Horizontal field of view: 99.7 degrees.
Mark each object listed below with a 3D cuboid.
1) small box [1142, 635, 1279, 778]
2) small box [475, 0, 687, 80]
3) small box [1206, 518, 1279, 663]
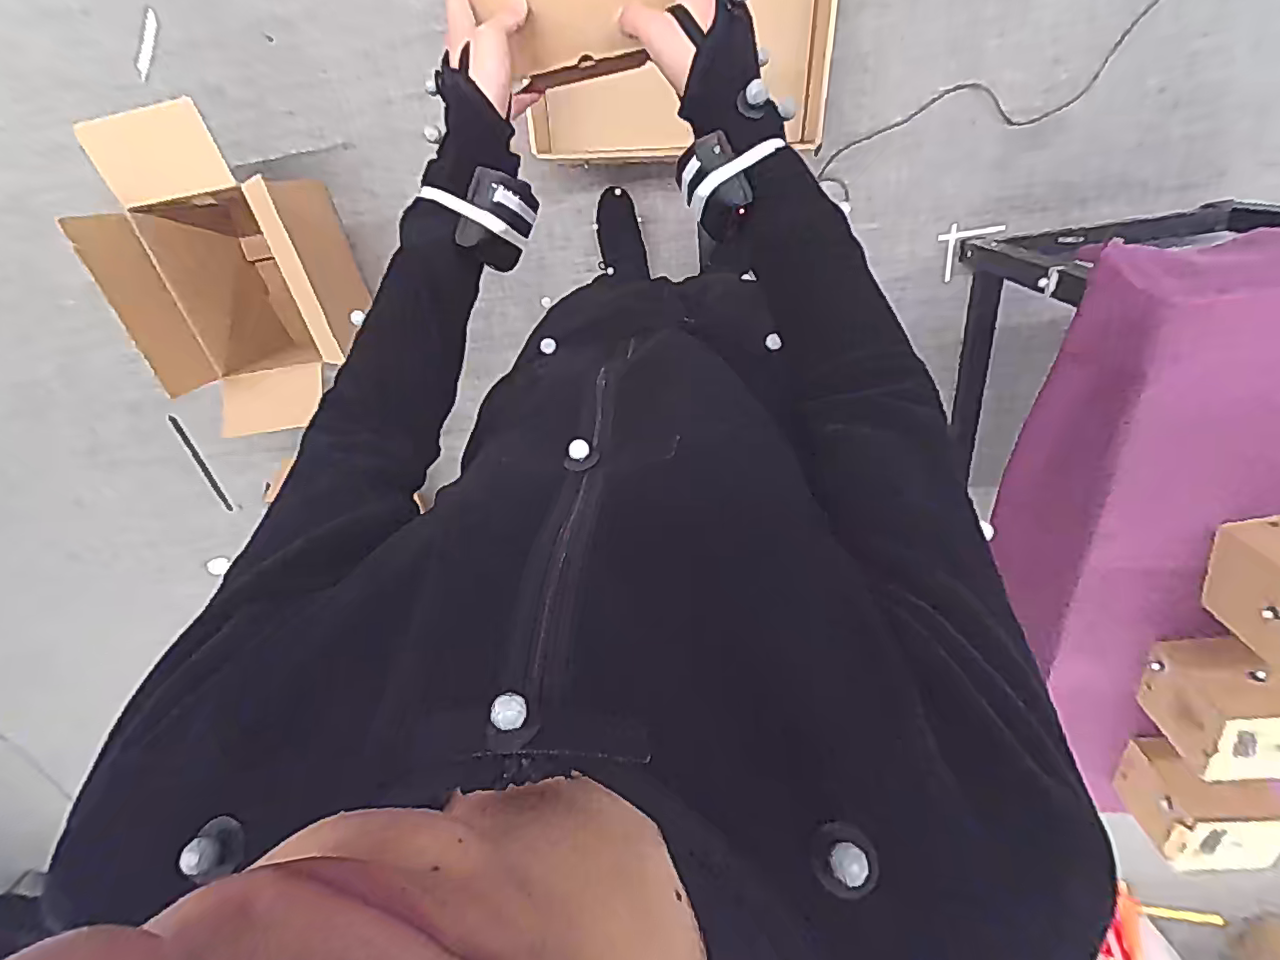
[{"bbox_3d":[1.045,0.393,0.949,0.179,0.176,0.168,-9,119,11],"label":"small box"},{"bbox_3d":[-0.050,-0.467,0.441,0.168,0.176,0.179,-4,138,11],"label":"small box"},{"bbox_3d":[1.023,0.164,0.816,0.168,0.176,0.179,-12,118,14],"label":"small box"}]
